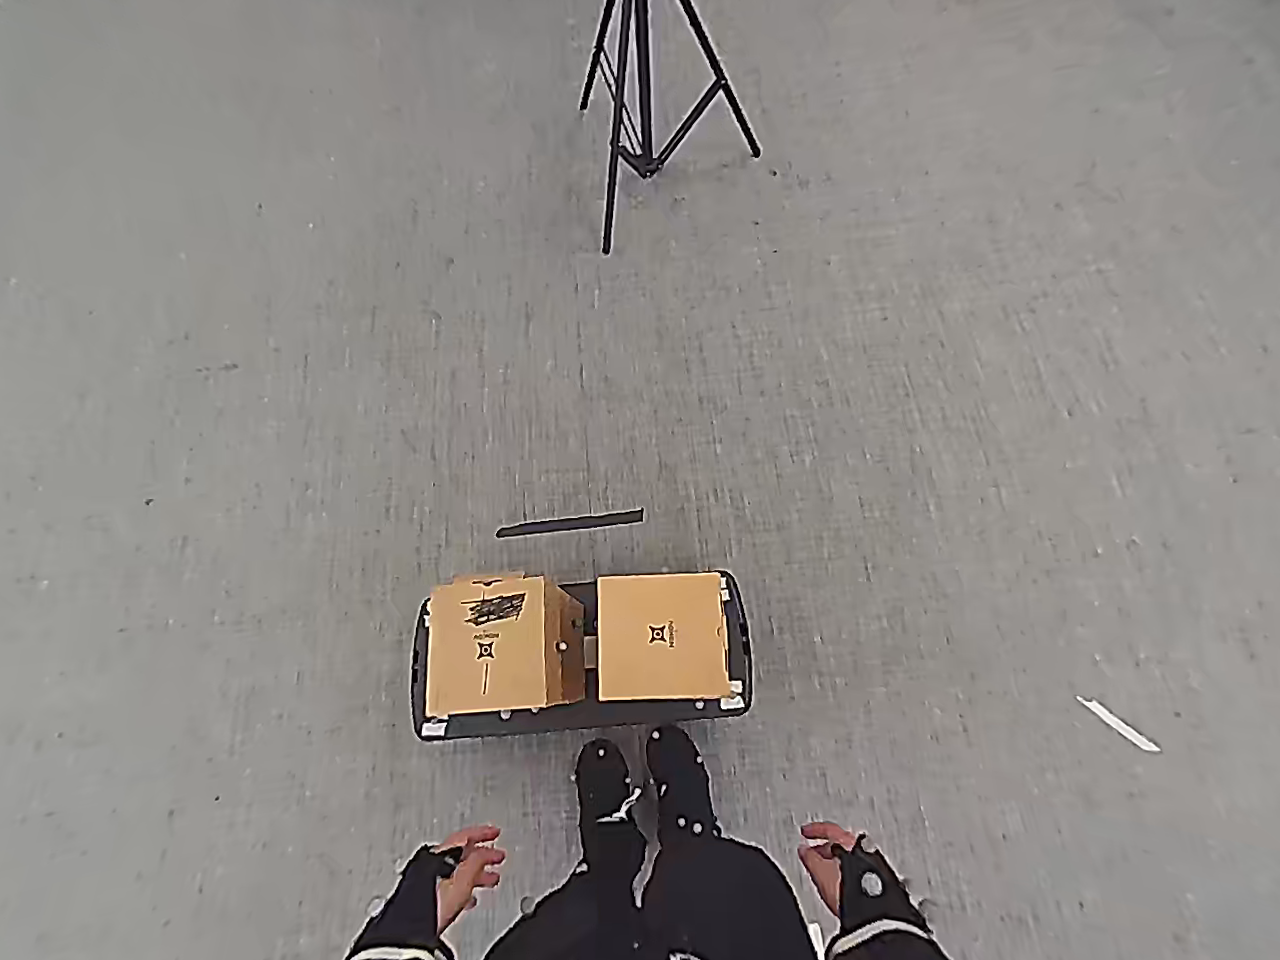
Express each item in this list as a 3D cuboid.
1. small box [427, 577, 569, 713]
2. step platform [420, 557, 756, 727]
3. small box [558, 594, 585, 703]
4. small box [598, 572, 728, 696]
[{"bbox_3d":[-0.204,0.252,0.823,0.168,0.176,0.179,-4,71,2],"label":"small box"},{"bbox_3d":[-0.104,0.341,1.145,0.684,0.204,0.286,-6,70,2],"label":"step platform"},{"bbox_3d":[-0.194,0.309,0.978,0.168,0.176,0.179,-4,71,2],"label":"small box"},{"bbox_3d":[0.033,0.237,0.818,0.179,0.176,0.168,-3,71,1],"label":"small box"}]
